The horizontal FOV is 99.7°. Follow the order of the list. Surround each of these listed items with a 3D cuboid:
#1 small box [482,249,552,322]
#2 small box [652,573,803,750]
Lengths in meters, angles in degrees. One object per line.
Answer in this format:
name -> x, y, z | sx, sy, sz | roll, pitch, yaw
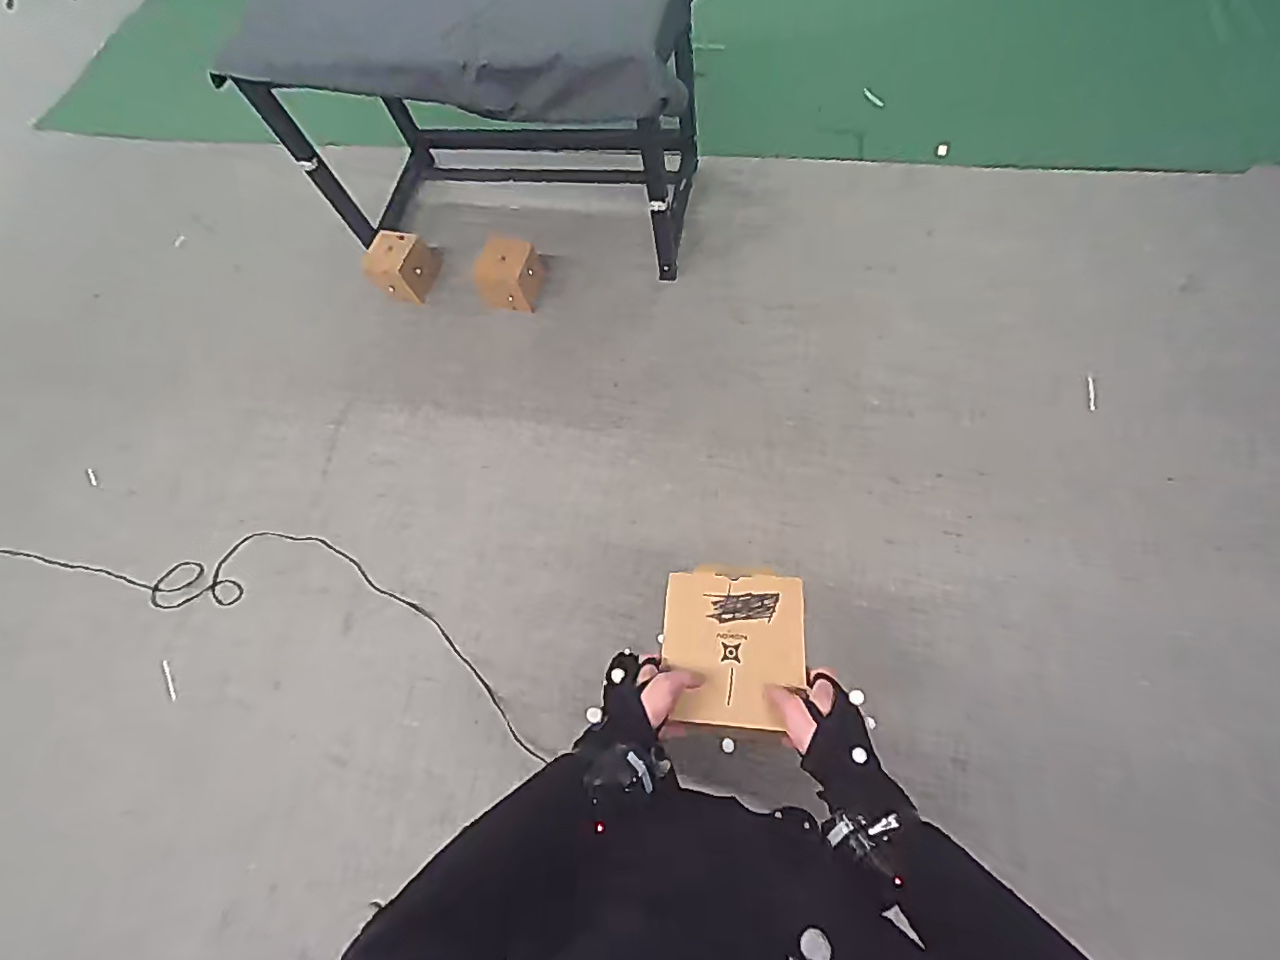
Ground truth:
small box -> -0.426, -0.684, 1.911 | 0.168, 0.176, 0.179 | 11, 68, 12
small box -> 0.117, 0.234, 0.692 | 0.168, 0.176, 0.179 | 0, 59, 13
